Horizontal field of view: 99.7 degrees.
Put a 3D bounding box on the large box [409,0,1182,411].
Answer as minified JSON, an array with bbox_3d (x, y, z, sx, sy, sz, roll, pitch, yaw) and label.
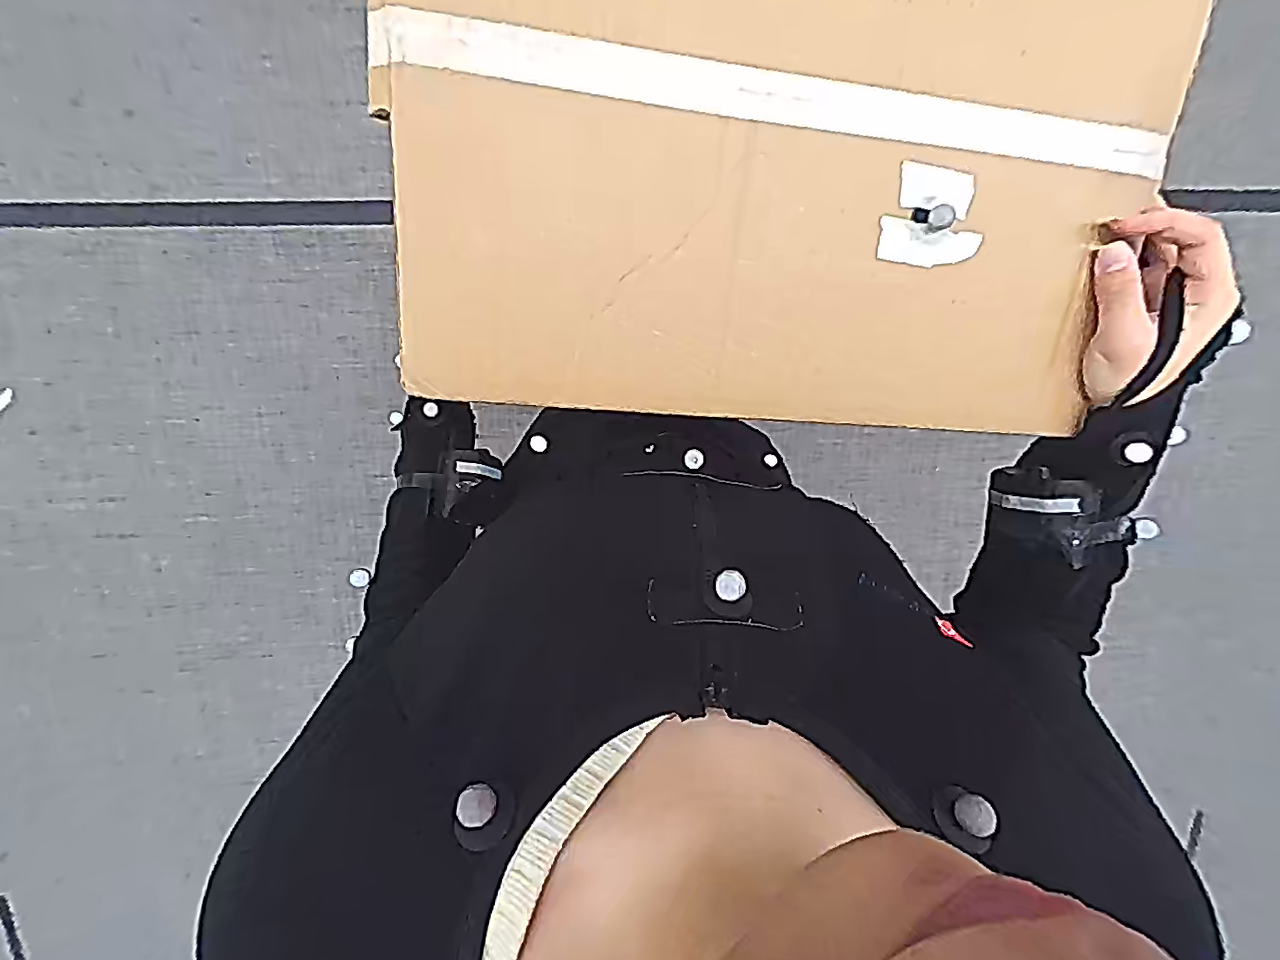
[{"bbox_3d":[0.063,-0.235,0.416,0.408,0.320,0.320,2,106,-11],"label":"large box"}]
